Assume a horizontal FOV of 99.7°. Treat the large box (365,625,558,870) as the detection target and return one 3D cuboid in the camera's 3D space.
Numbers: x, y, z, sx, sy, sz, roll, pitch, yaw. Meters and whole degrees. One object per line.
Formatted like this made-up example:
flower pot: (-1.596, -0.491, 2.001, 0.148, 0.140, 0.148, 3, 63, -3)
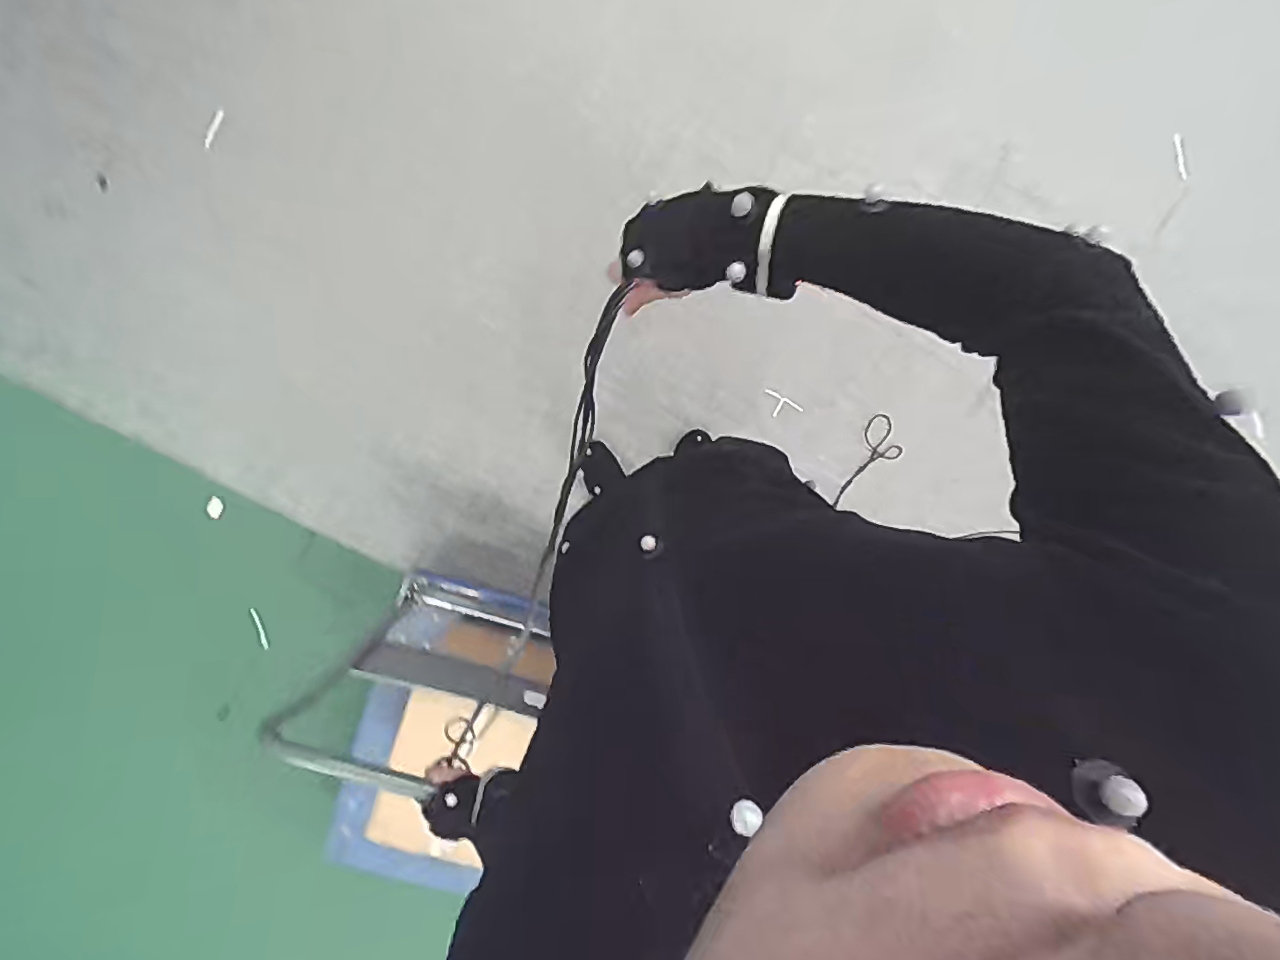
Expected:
large box: (-0.410, 0.628, 1.328, 0.320, 0.320, 0.408, 19, 95, -6)
